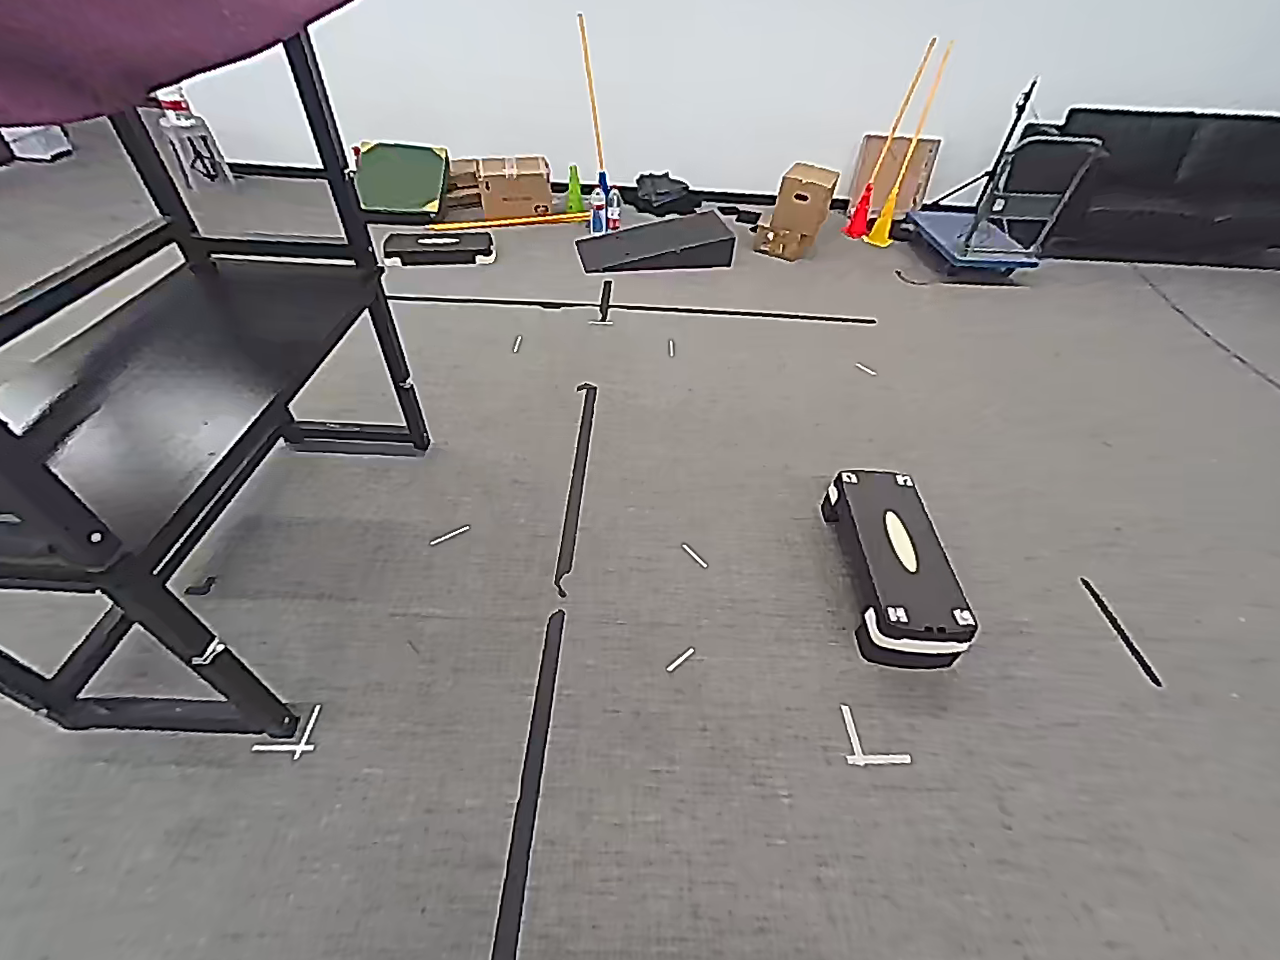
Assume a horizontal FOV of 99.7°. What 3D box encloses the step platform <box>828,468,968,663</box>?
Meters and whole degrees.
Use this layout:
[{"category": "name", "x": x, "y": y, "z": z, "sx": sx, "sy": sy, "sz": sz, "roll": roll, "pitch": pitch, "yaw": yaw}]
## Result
[{"category": "step platform", "x": 0.836, "y": 0.249, "z": 1.818, "sx": 0.286, "sy": 0.204, "sz": 0.684, "roll": 7, "pitch": 44, "yaw": 3}]
